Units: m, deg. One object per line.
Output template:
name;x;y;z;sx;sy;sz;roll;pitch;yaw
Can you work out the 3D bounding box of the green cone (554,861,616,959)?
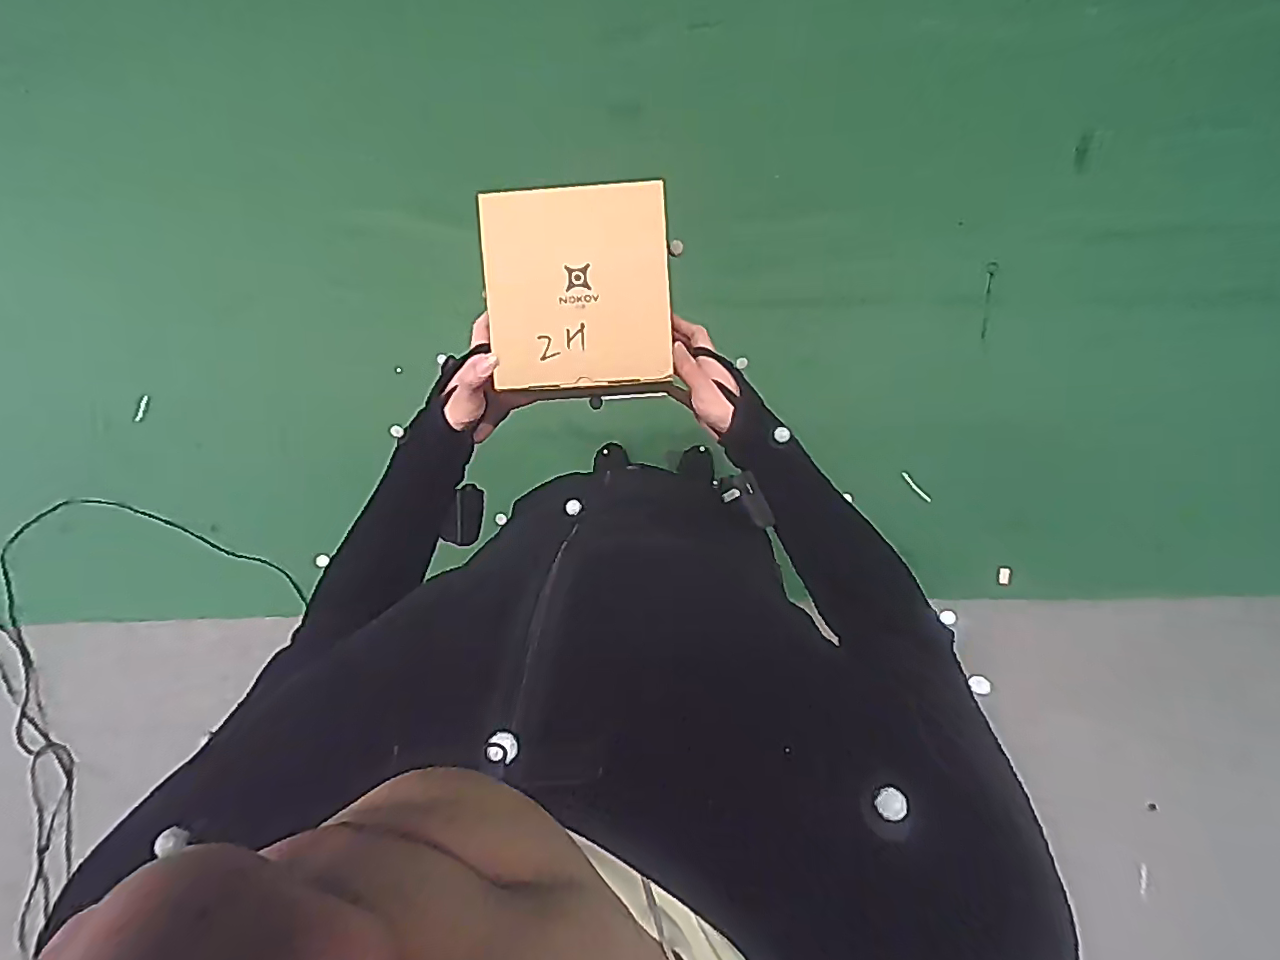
green cone;-0.187;1.340;1.577;0.202;0.368;0.200;-1;94;3
